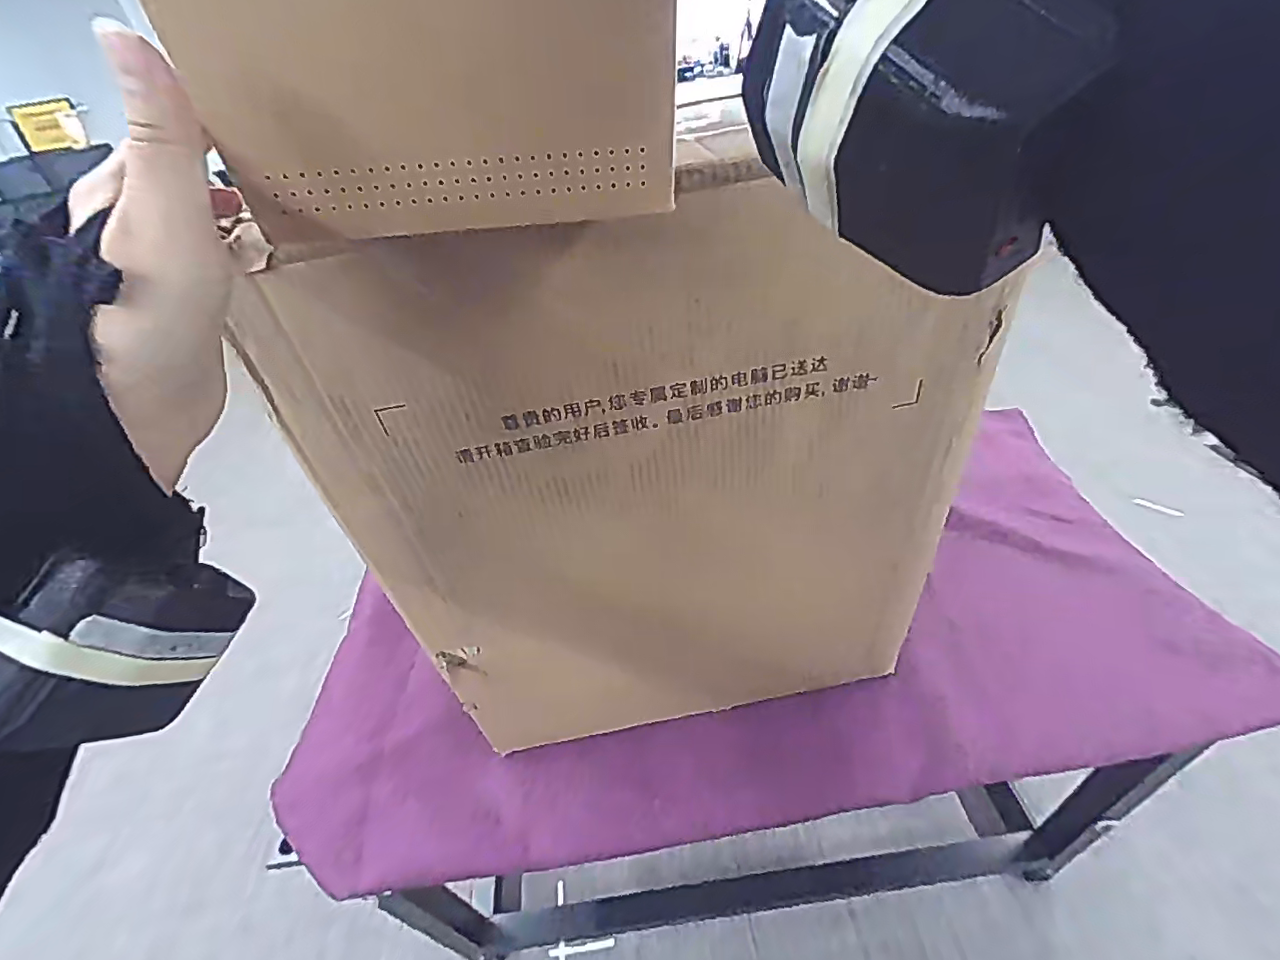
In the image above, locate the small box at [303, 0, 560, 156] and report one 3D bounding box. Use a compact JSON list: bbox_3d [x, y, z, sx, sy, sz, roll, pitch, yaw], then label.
[{"bbox_3d":[-0.169,-0.382,0.450,0.168,0.176,0.179,-13,40,-8],"label":"small box"}]
